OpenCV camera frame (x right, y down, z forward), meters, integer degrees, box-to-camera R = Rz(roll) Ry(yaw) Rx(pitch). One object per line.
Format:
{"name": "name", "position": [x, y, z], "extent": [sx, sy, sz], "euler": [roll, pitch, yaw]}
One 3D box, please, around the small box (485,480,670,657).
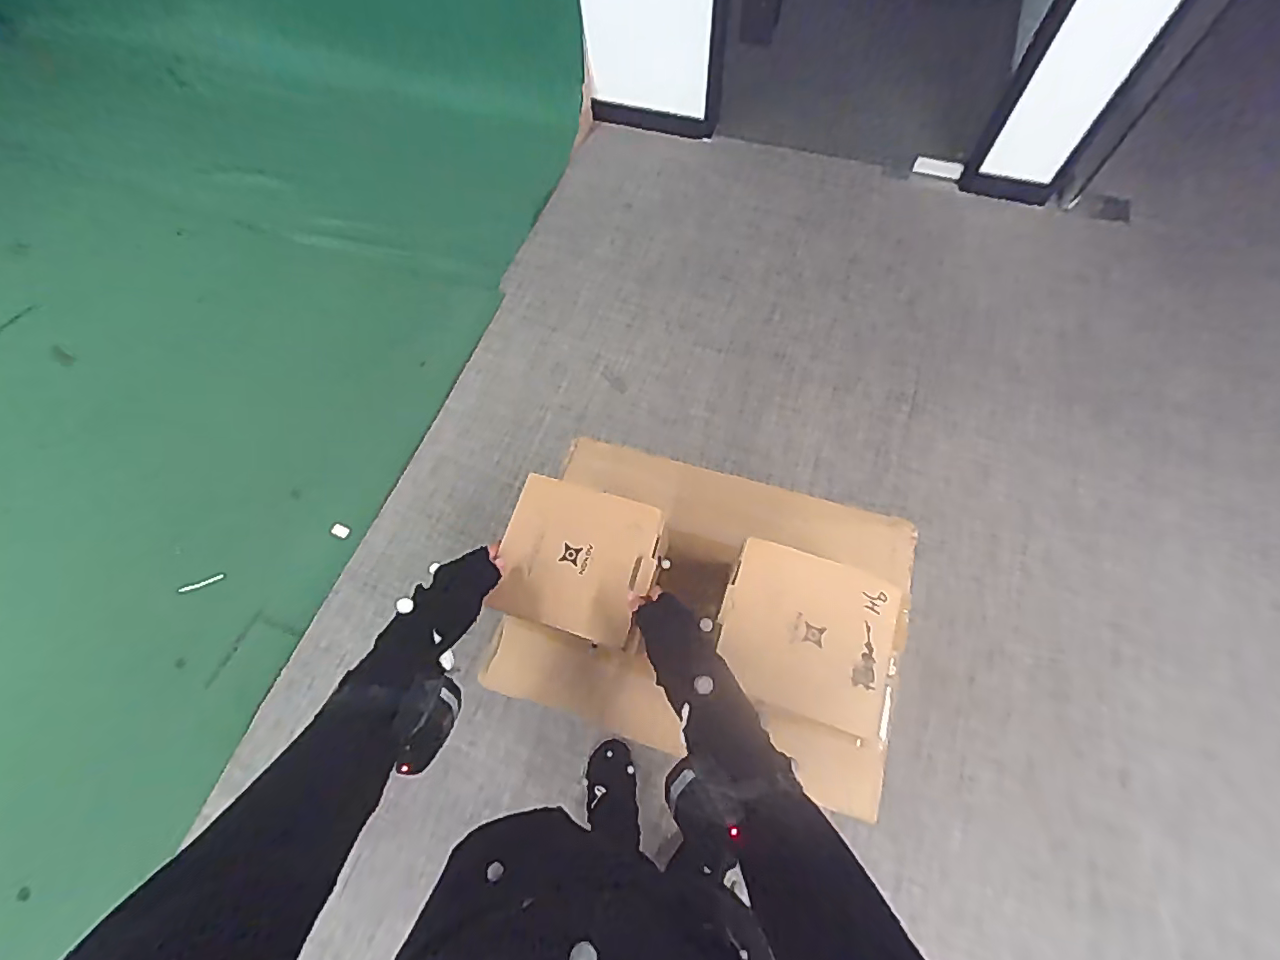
{"name": "small box", "position": [-0.065, 0.122, 0.695], "extent": [0.179, 0.176, 0.168], "euler": [14, 69, 9]}

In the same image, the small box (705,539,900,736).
{"name": "small box", "position": [0.183, 0.191, 0.654], "extent": [0.179, 0.176, 0.168], "euler": [16, 71, 10]}
